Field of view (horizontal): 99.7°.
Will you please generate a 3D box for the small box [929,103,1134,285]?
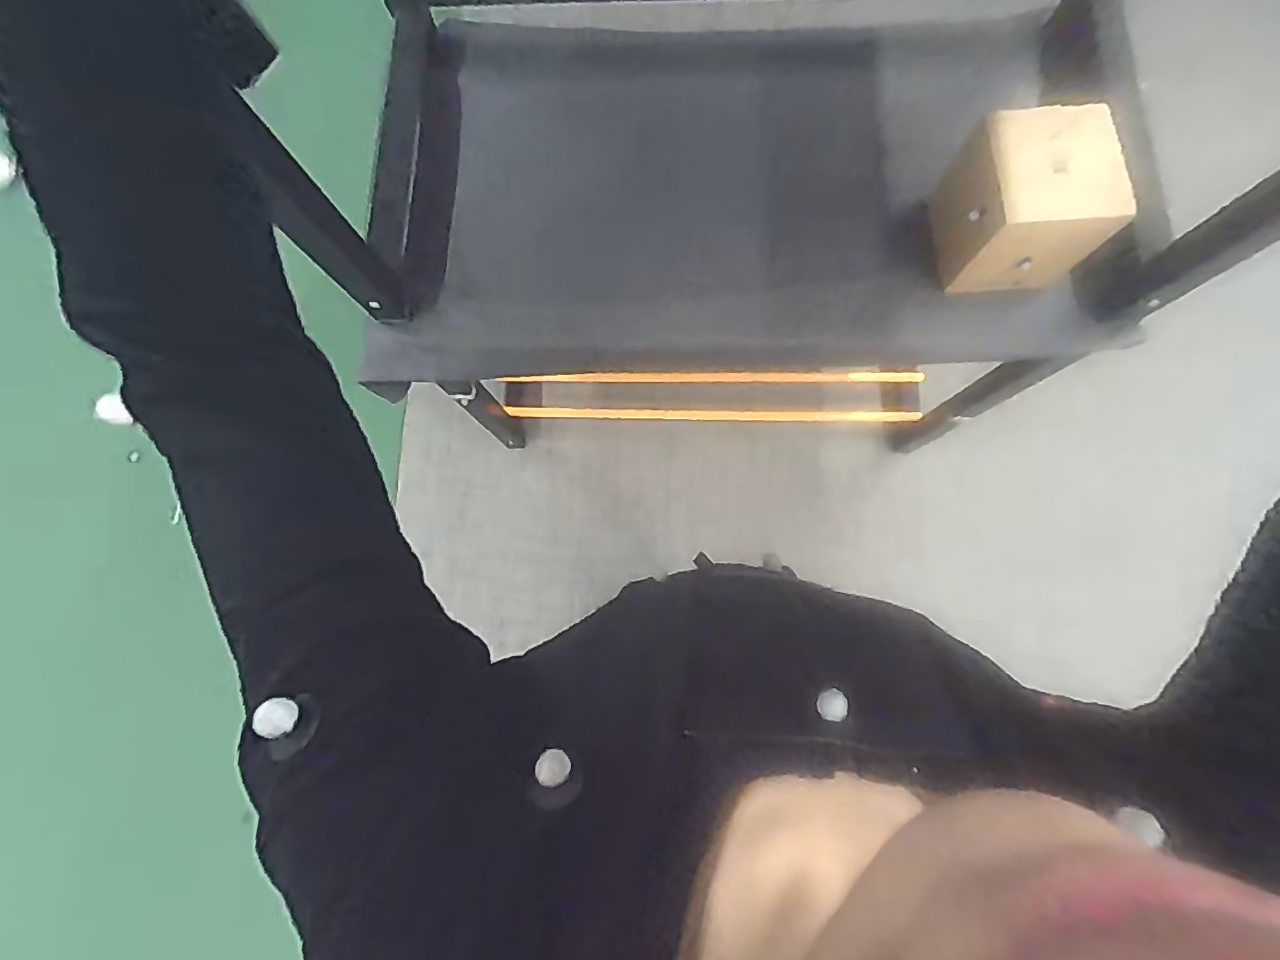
[{"bbox_3d":[0.552,-0.402,0.790,0.168,0.176,0.179,-3,77,2],"label":"small box"}]
